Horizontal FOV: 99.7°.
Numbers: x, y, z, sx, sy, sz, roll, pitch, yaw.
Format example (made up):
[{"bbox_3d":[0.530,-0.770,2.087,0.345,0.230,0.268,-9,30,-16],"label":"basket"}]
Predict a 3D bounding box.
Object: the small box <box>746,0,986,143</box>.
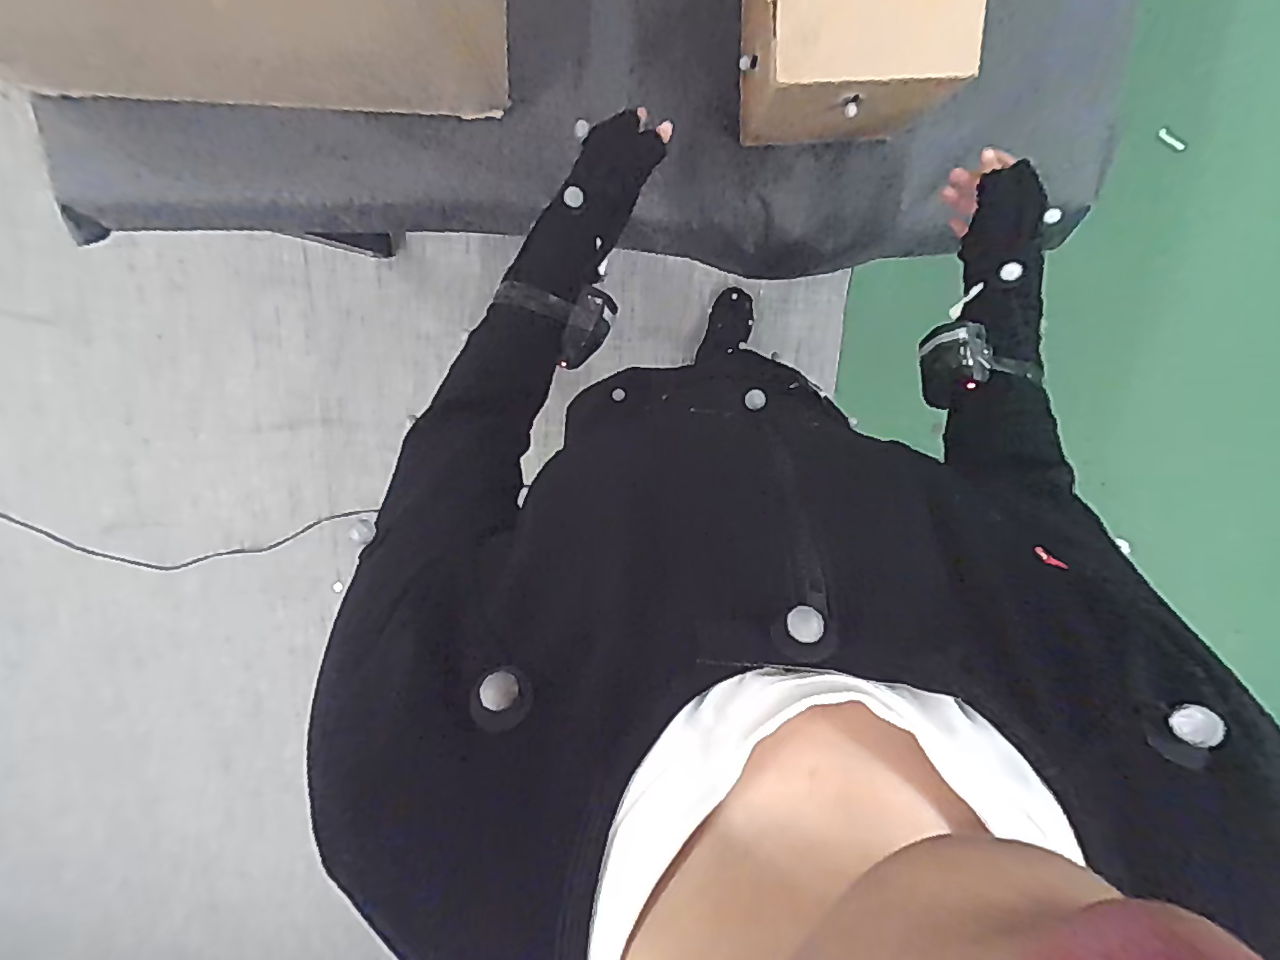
[{"bbox_3d":[0.202,-0.443,0.522,0.179,0.176,0.168,-2,106,0],"label":"small box"}]
